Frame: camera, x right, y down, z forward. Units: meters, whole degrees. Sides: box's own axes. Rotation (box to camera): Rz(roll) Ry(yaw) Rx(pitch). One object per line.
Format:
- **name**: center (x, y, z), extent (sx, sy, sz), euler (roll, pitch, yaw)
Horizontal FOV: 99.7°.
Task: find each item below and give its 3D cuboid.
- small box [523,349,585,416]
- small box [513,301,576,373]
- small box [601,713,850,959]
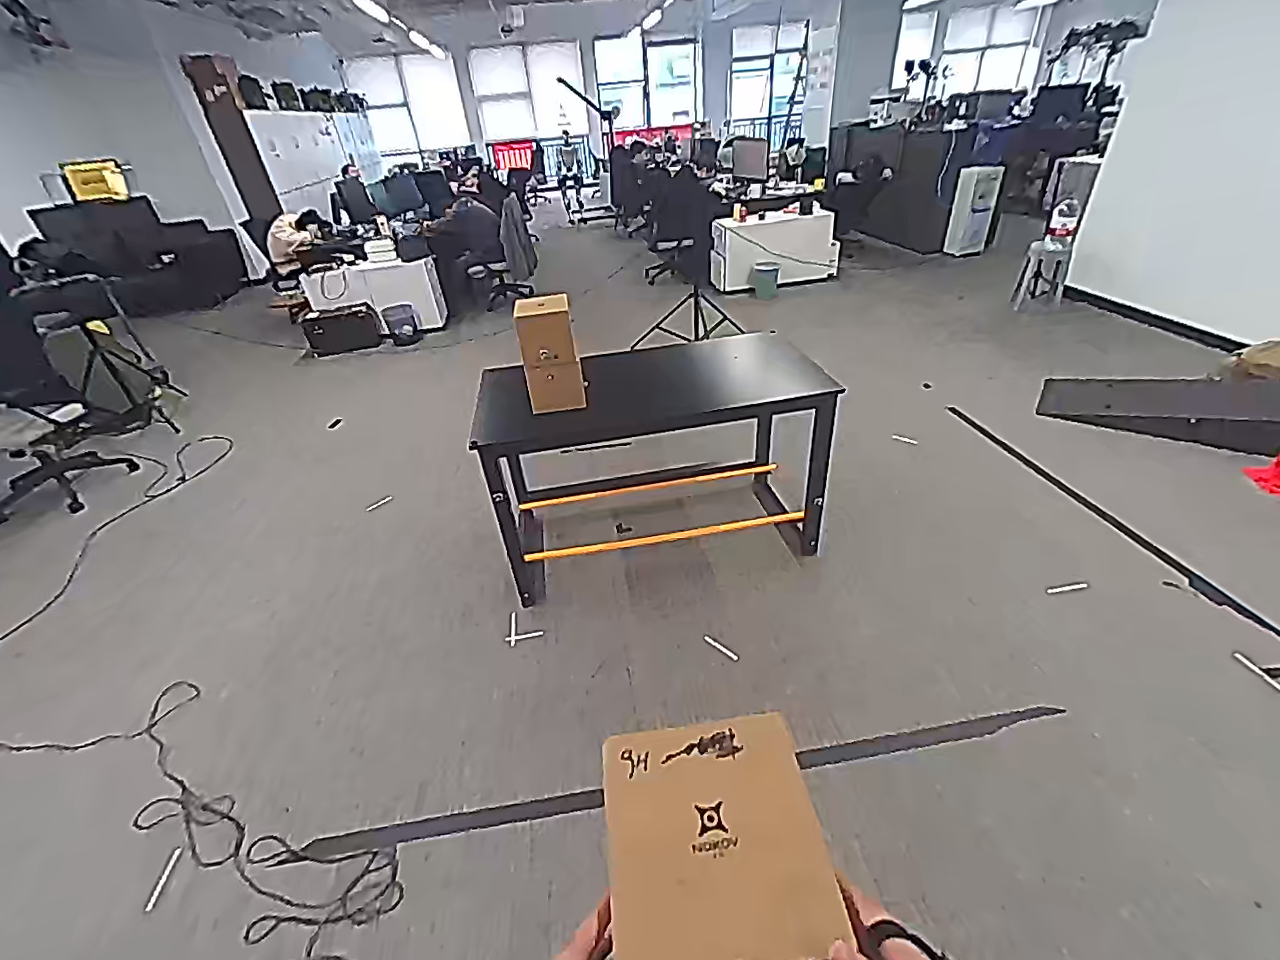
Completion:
- **small box**: center (-0.286, -0.324, 1.818), extent (0.179, 0.176, 0.168), euler (-8, 34, -5)
- **small box**: center (-0.302, -0.457, 1.726), extent (0.168, 0.176, 0.179), euler (-10, 35, -4)
- **small box**: center (0.062, 0.338, 0.472), extent (0.168, 0.176, 0.179), euler (-8, 38, -2)
